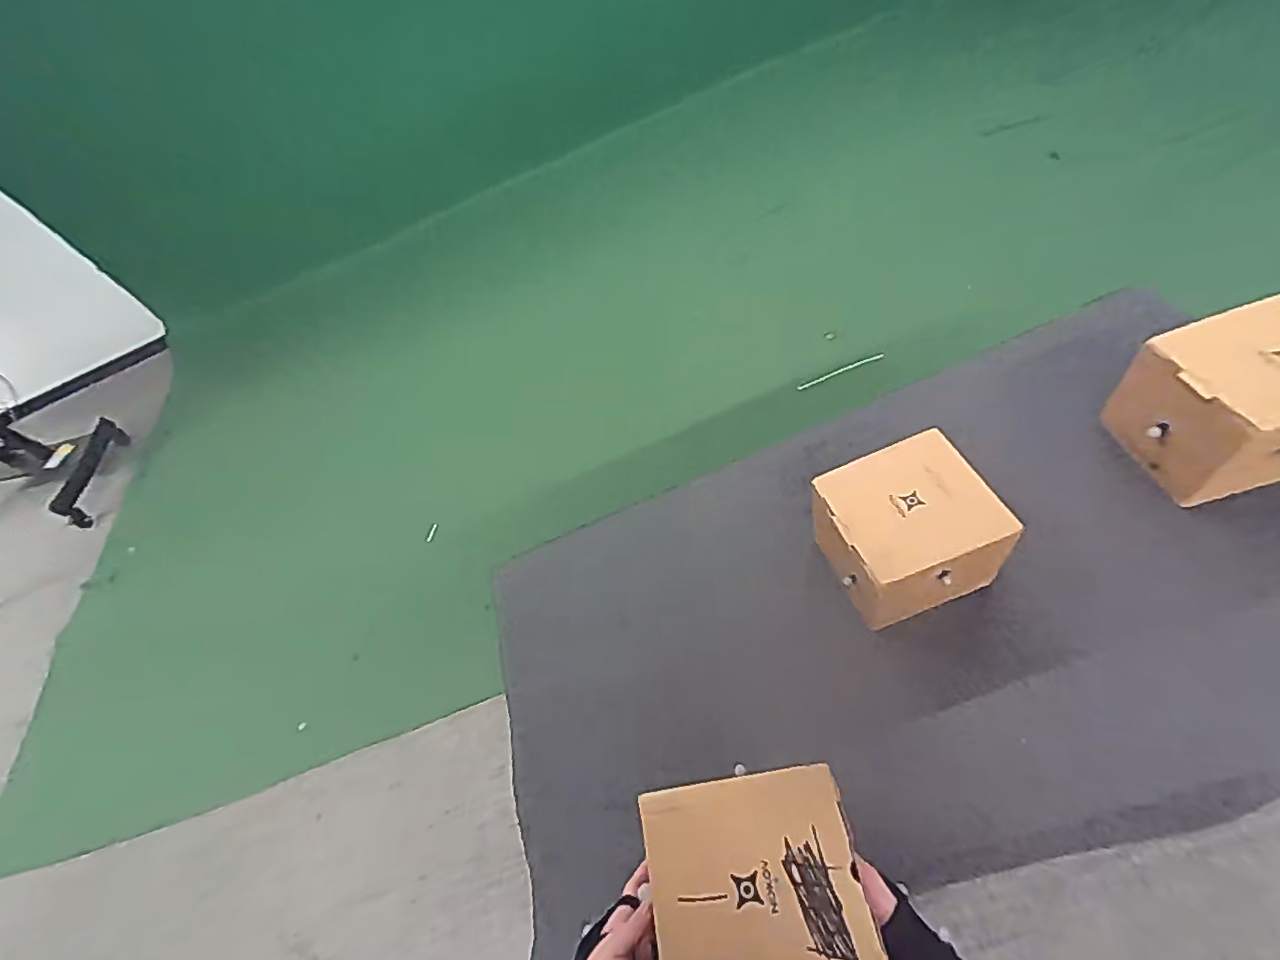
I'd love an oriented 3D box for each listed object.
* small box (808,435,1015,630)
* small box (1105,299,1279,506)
[{"bbox_3d":[0.344,0.078,0.723,0.179,0.176,0.168,-23,54,2],"label":"small box"},{"bbox_3d":[0.746,-0.090,0.688,0.179,0.176,0.168,-19,53,7],"label":"small box"}]
